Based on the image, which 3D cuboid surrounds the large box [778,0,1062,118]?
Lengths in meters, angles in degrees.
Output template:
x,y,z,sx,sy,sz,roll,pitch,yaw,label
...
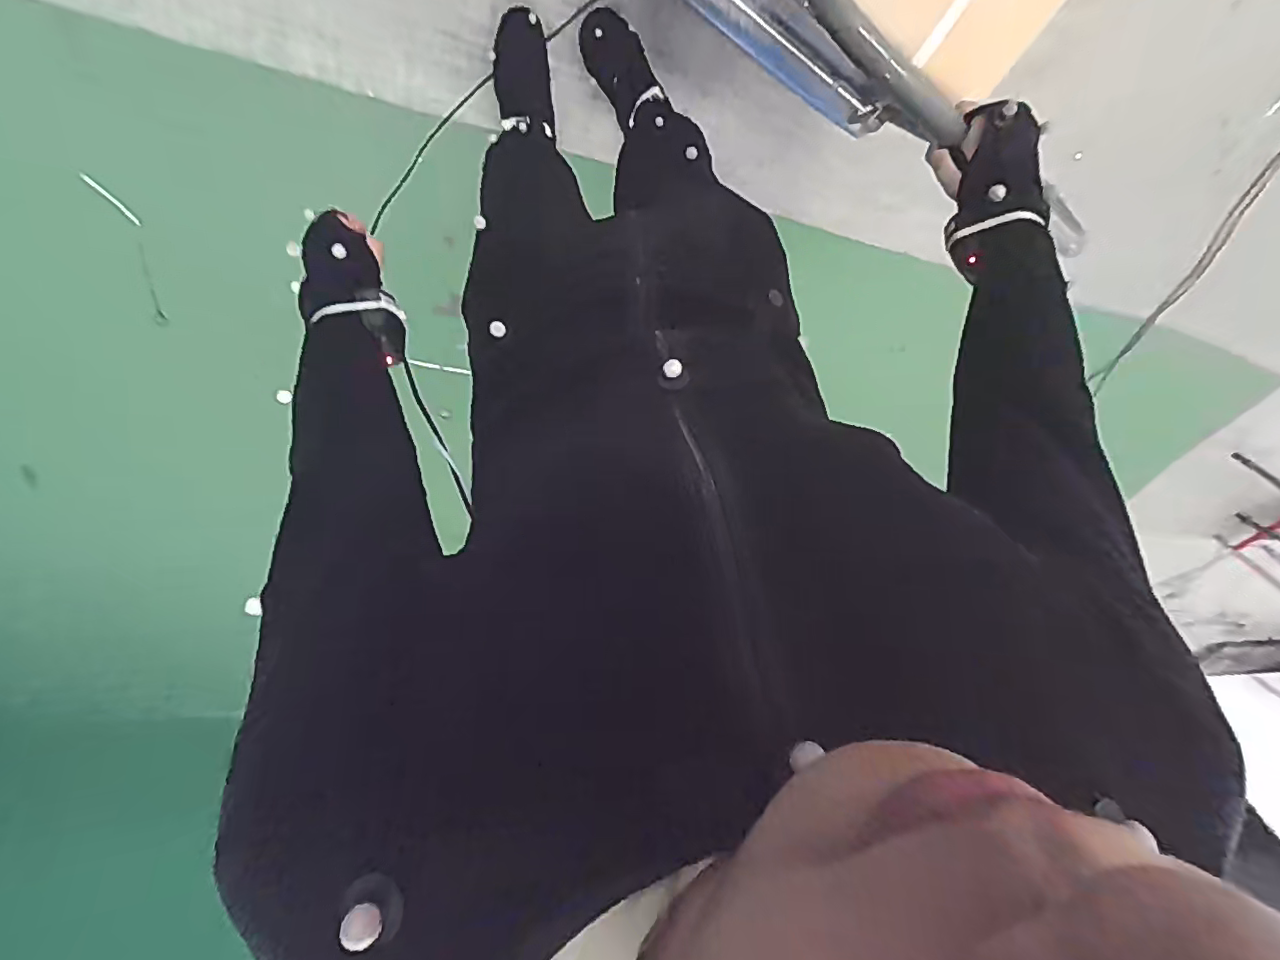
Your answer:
x,y,z,sx,sy,sz,roll,pitch,yaw,label
0.485,-0.871,0.828,0.320,0.320,0.408,15,129,-27,large box
